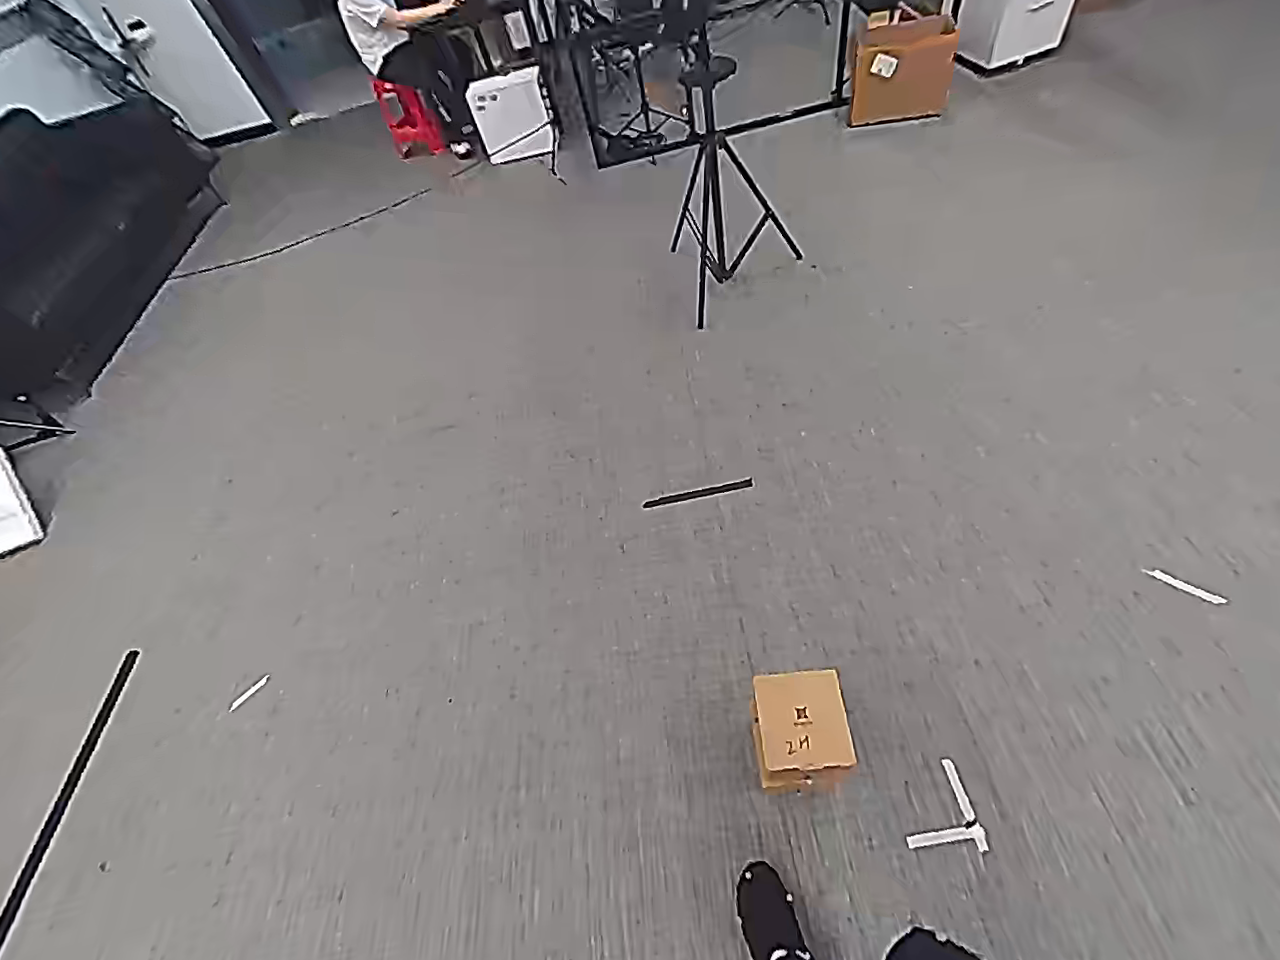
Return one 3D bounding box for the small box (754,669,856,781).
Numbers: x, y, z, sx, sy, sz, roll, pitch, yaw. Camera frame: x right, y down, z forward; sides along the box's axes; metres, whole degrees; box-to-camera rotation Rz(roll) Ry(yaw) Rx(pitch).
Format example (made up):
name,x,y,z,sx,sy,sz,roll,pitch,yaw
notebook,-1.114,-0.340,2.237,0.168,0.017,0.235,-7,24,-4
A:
name,x,y,z,sx,sy,sz,roll,pitch,yaw
small box,0.326,0.501,1.100,0.168,0.176,0.179,-8,54,9
